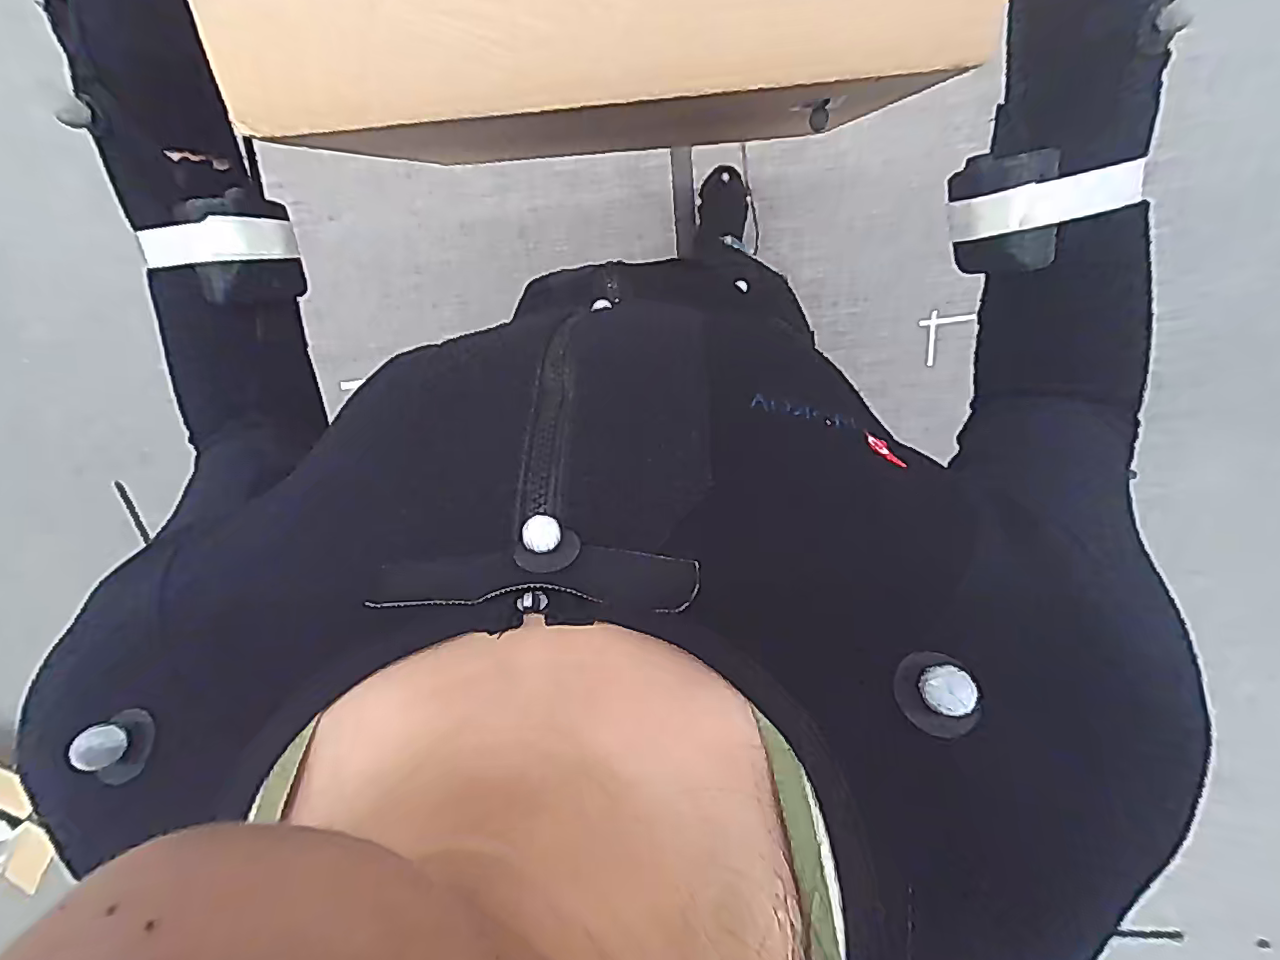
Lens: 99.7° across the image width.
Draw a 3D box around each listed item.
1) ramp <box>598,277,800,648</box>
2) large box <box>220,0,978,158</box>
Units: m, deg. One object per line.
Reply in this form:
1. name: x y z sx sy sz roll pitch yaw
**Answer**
1. ramp: 0.169 -0.007 1.475 0.509 0.206 0.991 -5 111 9
2. large box: -0.026 -0.417 0.362 0.408 0.320 0.320 -2 117 5
